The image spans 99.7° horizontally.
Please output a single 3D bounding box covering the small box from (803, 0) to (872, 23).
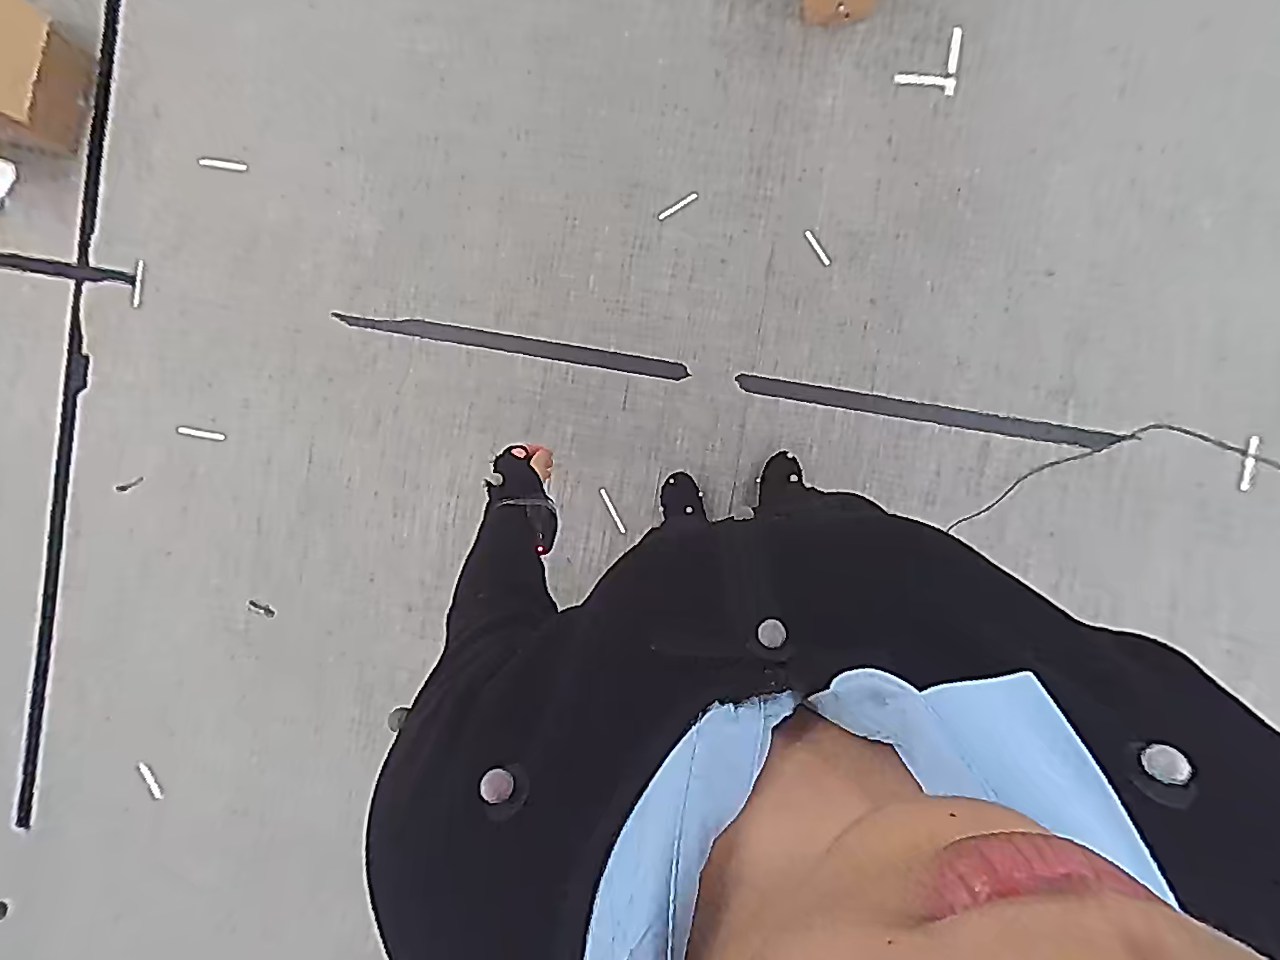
[{"bbox_3d":[0.507,-1.306,1.356,0.168,0.176,0.179,-3,91,6],"label":"small box"}]
